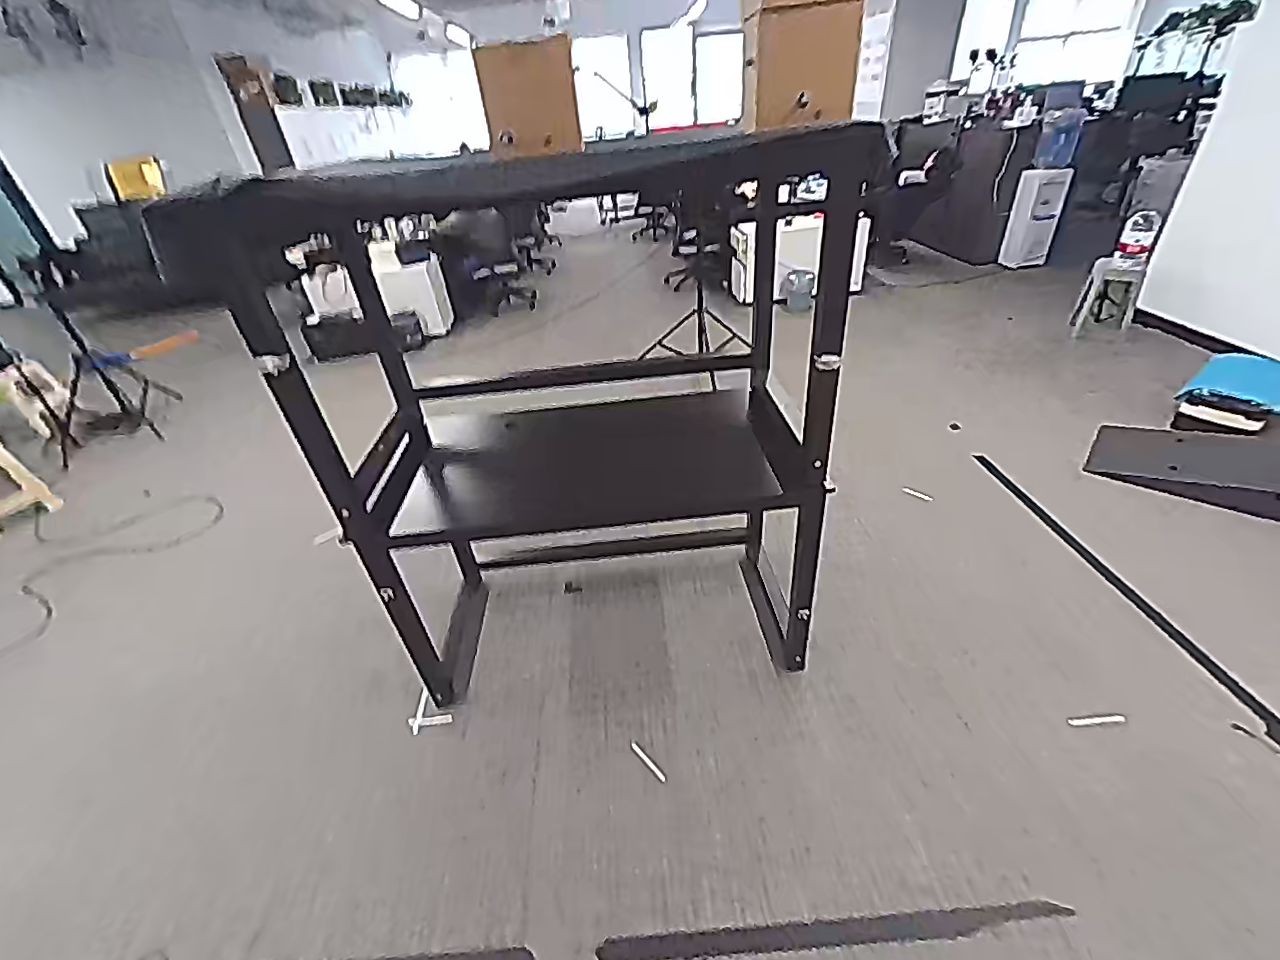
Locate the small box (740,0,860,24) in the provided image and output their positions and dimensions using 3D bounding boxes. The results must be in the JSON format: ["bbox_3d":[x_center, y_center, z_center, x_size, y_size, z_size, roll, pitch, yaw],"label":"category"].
[{"bbox_3d":[0.253,-0.841,0.850,0.168,0.176,0.179,-7,35,1],"label":"small box"}]

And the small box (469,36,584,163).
[{"bbox_3d":[-0.198,-0.691,0.997,0.168,0.176,0.179,-7,32,-1],"label":"small box"}]
